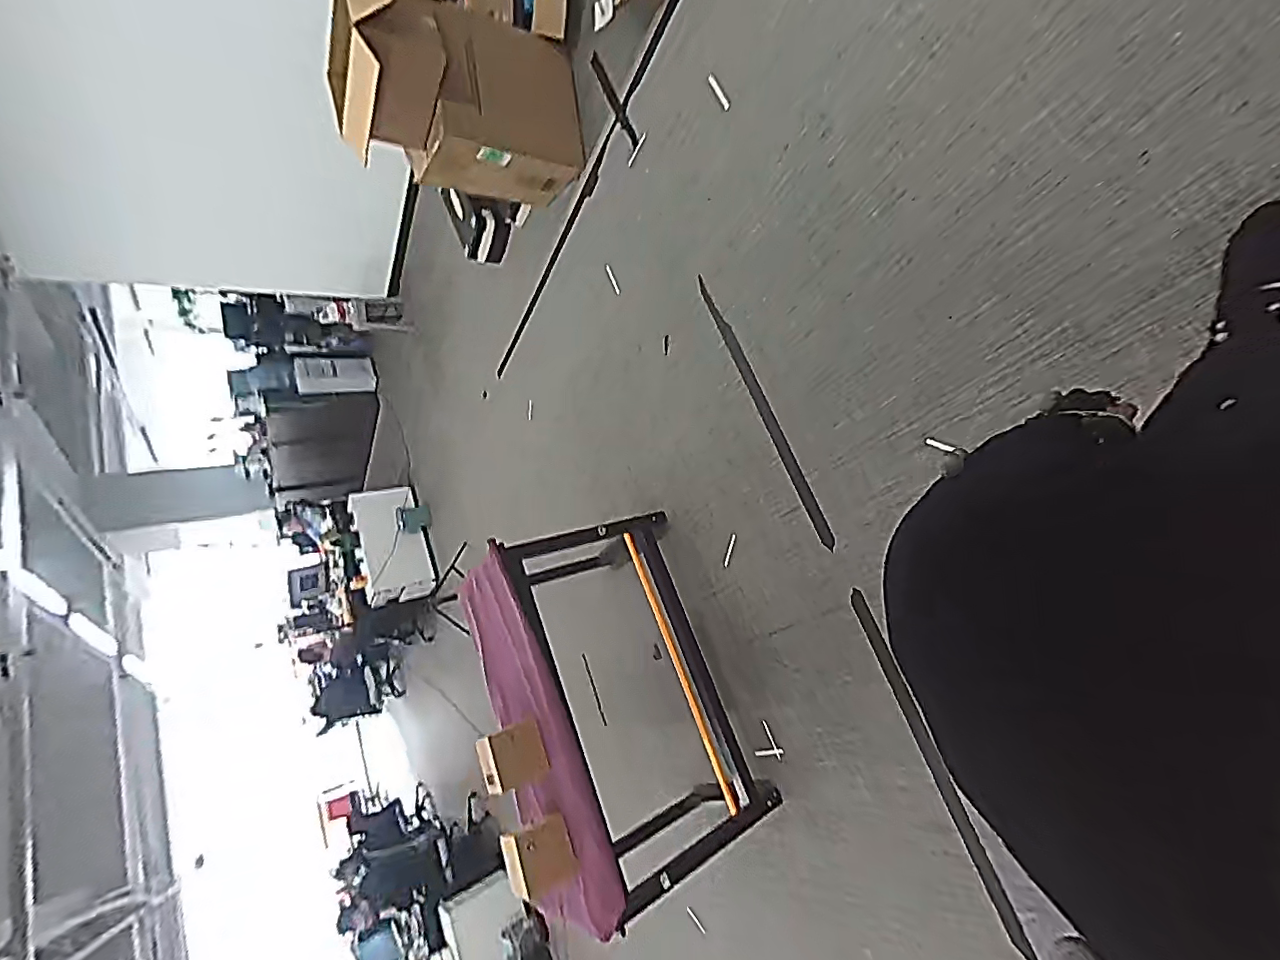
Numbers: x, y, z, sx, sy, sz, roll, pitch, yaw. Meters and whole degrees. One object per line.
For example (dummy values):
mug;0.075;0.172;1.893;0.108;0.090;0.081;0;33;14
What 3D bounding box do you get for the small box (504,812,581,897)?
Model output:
small box;-0.311;1.181;1.723;0.168;0.176;0.179;-47;58;49
